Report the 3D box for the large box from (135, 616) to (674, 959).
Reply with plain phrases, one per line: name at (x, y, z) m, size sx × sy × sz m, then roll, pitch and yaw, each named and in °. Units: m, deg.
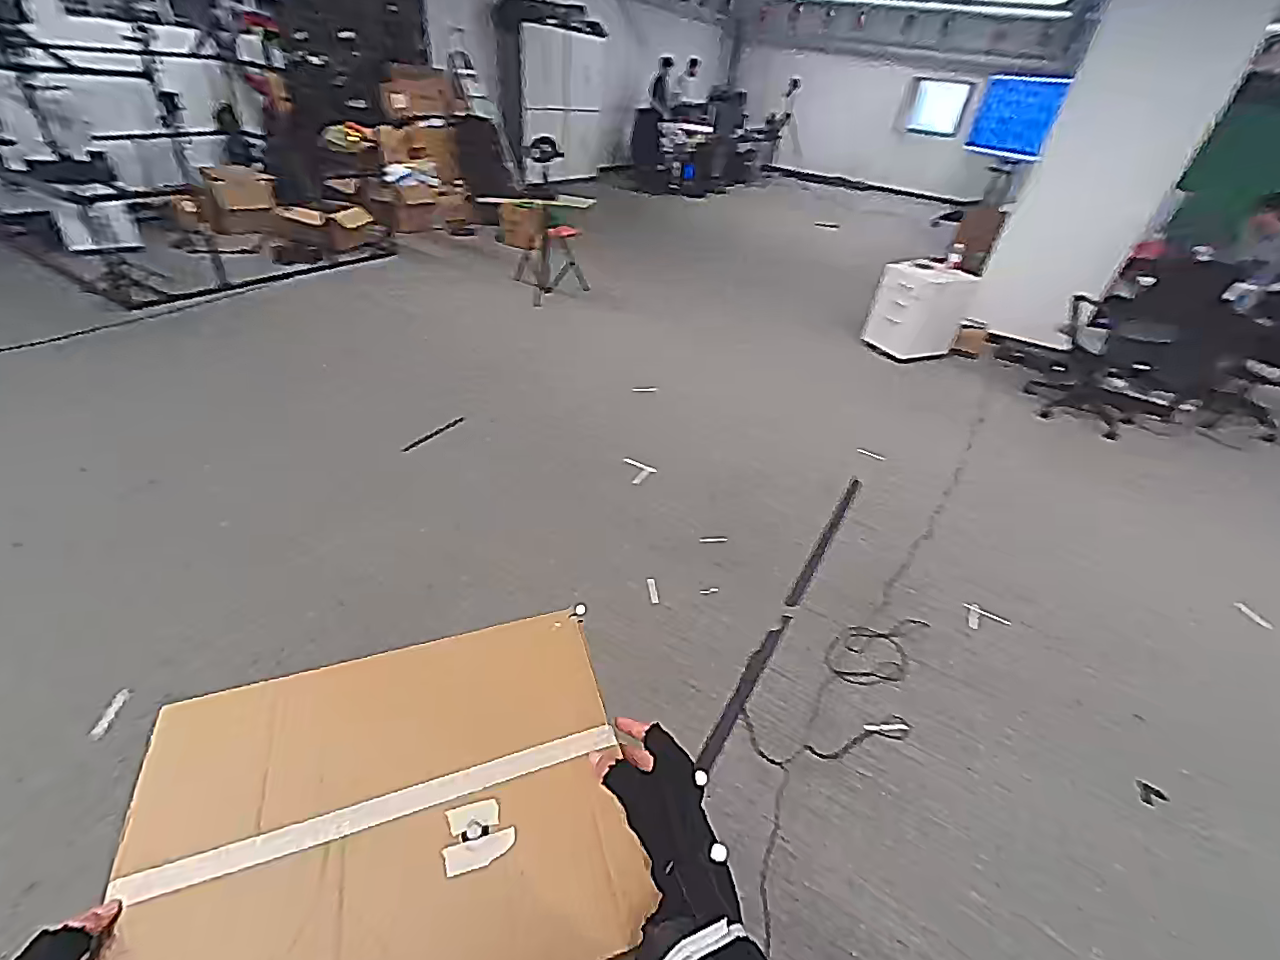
large box at (-0.217, 0.404, 0.591) m, size 0.408 × 0.320 × 0.320 m, roll -9°, pitch 45°, yaw -17°
